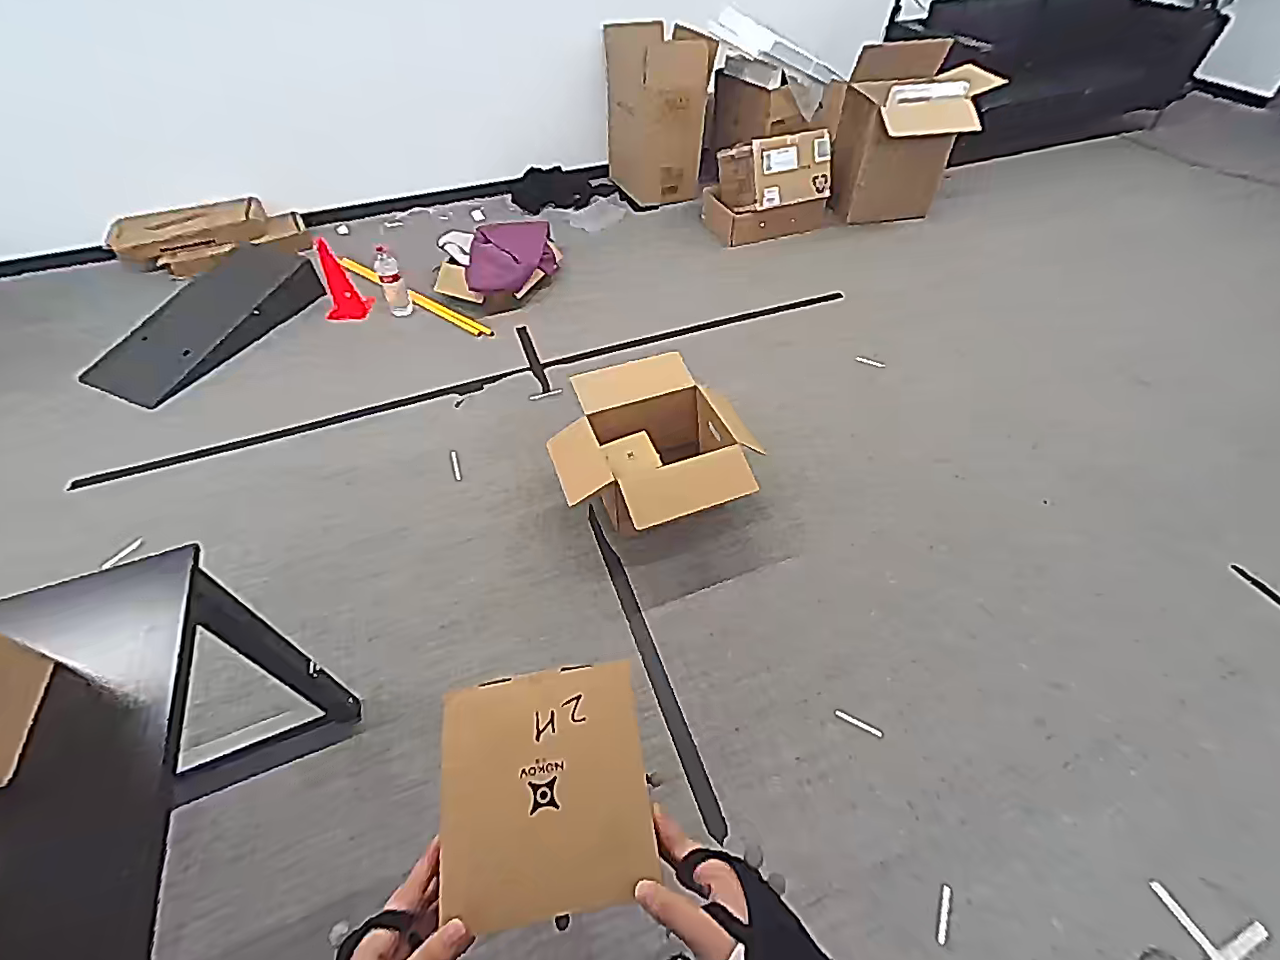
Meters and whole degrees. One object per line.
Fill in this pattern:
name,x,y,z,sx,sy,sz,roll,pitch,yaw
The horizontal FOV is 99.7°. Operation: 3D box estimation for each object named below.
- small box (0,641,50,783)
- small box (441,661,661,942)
small box,-0.901,0.293,0.660,0.168,0.176,0.179,-15,52,-11
small box,-0.075,0.288,0.502,0.168,0.176,0.179,-8,56,-5
